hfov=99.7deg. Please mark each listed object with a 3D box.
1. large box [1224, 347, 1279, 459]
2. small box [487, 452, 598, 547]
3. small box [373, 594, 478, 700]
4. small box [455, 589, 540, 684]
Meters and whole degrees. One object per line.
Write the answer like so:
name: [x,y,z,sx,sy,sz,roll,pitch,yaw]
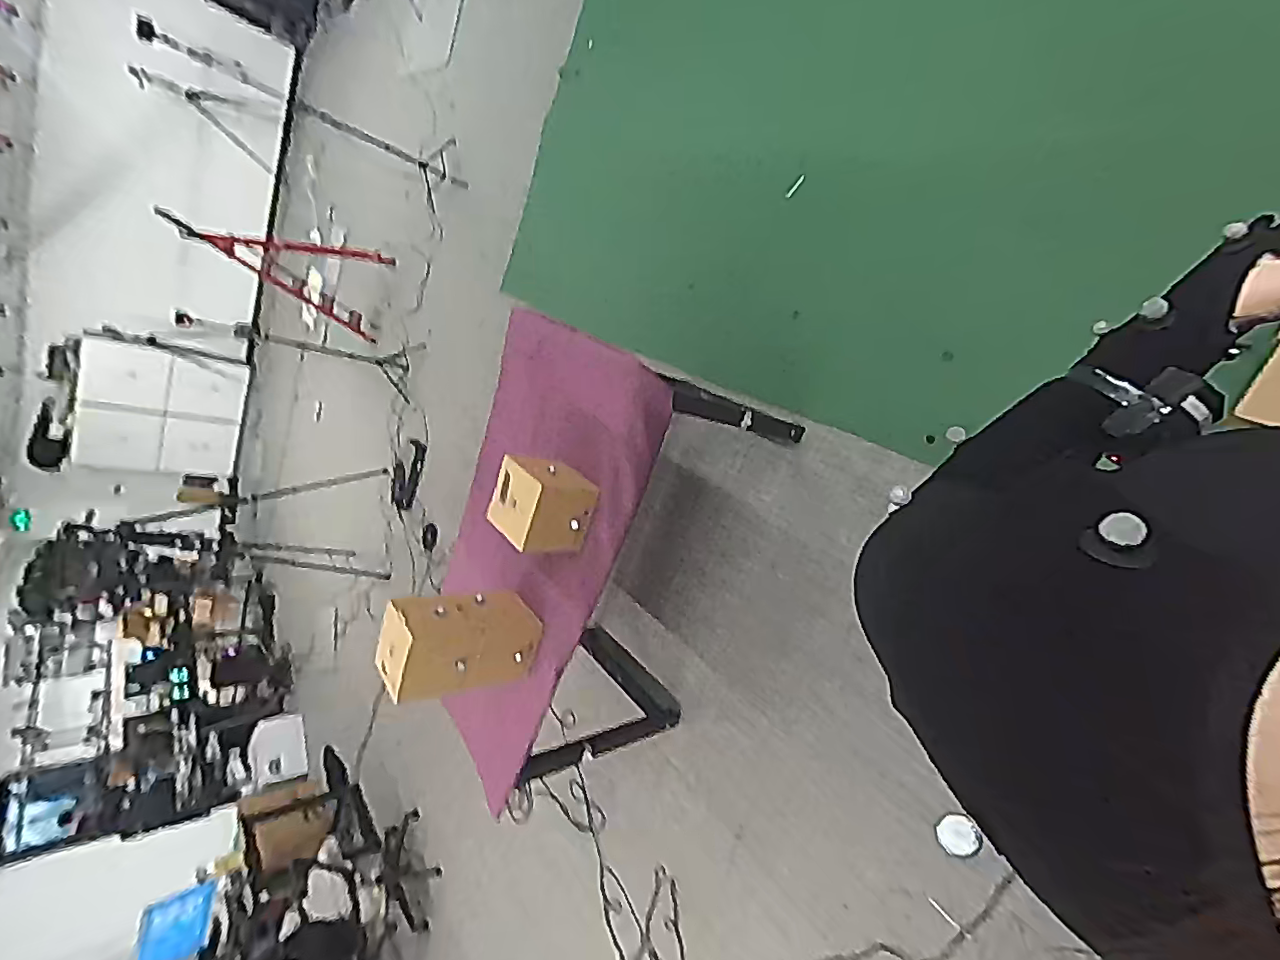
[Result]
large box: [1.214,-0.140,0.787,0.408,0.320,0.320,35,110,41]
small box: [-0.230,0.048,1.276,0.179,0.176,0.168,34,109,42]
small box: [-0.501,0.382,1.275,0.168,0.176,0.179,32,107,44]
small box: [-0.385,0.394,1.390,0.179,0.176,0.168,32,109,44]
